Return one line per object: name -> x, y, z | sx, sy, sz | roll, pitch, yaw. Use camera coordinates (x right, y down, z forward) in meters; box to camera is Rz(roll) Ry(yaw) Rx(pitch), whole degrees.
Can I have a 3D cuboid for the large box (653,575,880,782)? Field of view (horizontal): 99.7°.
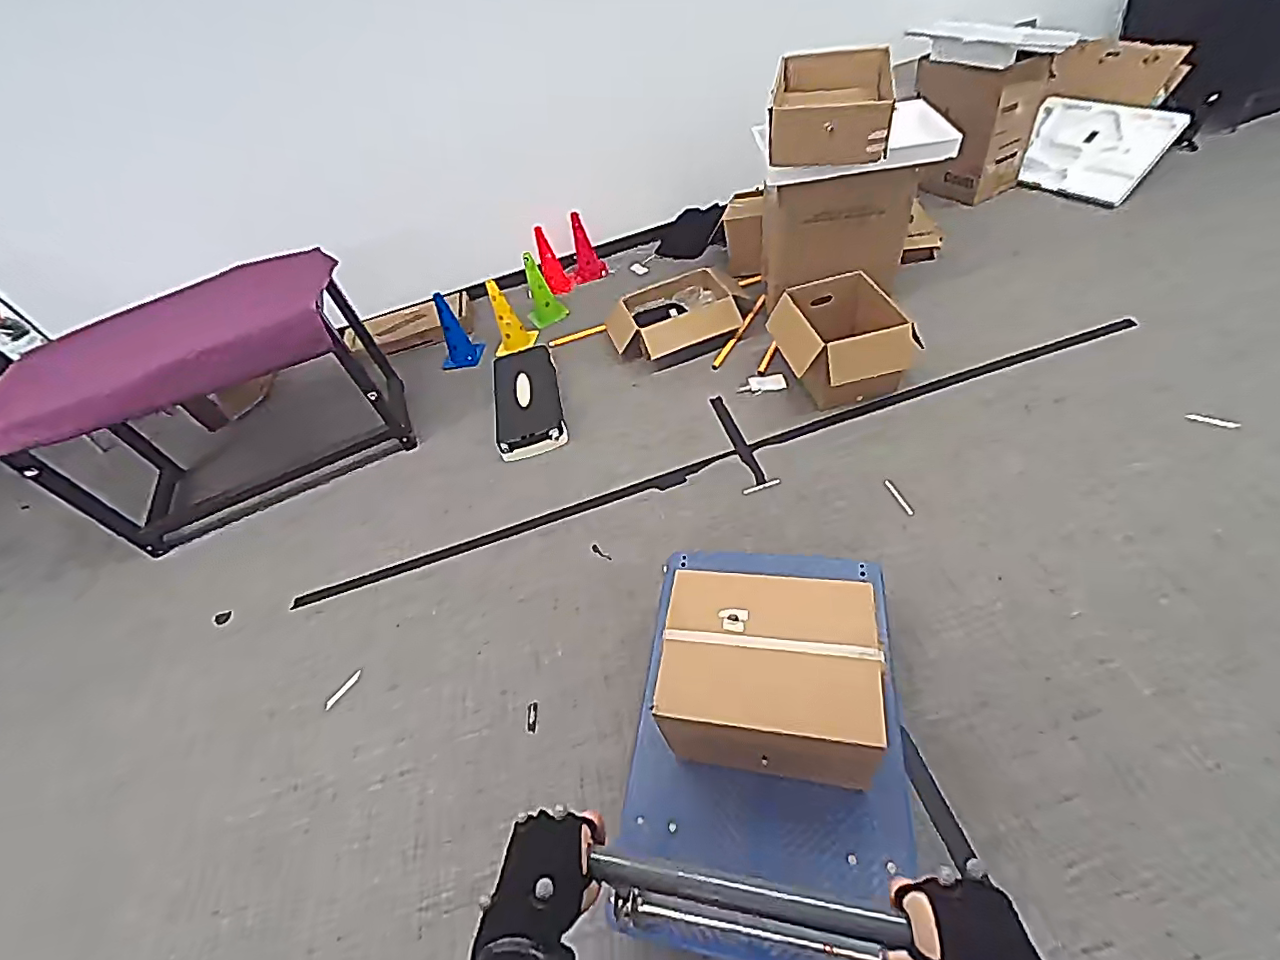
large box -> 0.273, 0.423, 1.164 | 0.408, 0.320, 0.320 | 0, 48, 17
